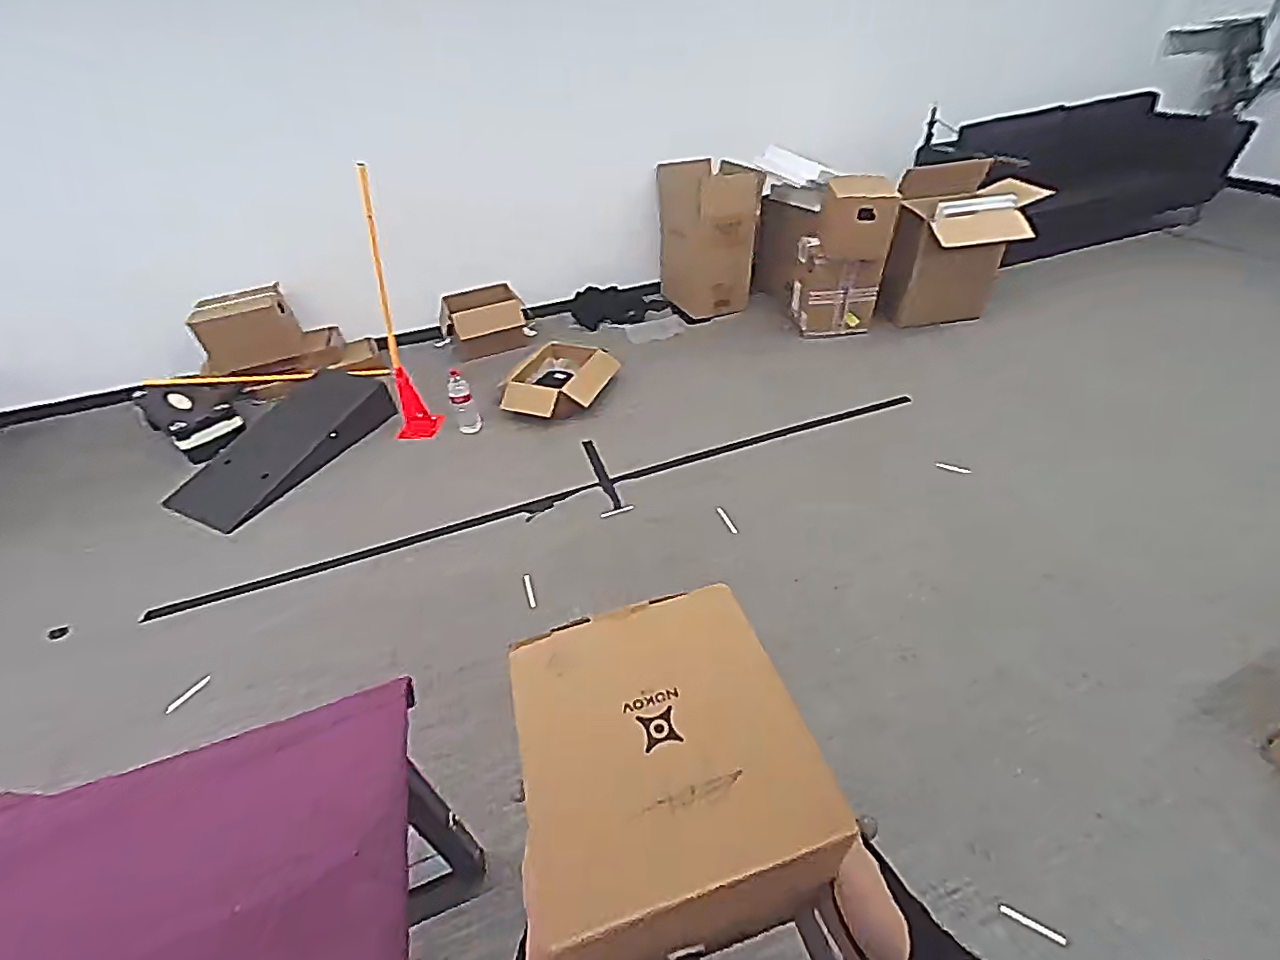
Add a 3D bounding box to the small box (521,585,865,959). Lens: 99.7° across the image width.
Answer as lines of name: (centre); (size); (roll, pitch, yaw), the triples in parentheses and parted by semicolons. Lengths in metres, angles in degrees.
small box: (0.021, 0.209, 0.381); (0.168, 0.176, 0.179); (-14, 42, -10)
